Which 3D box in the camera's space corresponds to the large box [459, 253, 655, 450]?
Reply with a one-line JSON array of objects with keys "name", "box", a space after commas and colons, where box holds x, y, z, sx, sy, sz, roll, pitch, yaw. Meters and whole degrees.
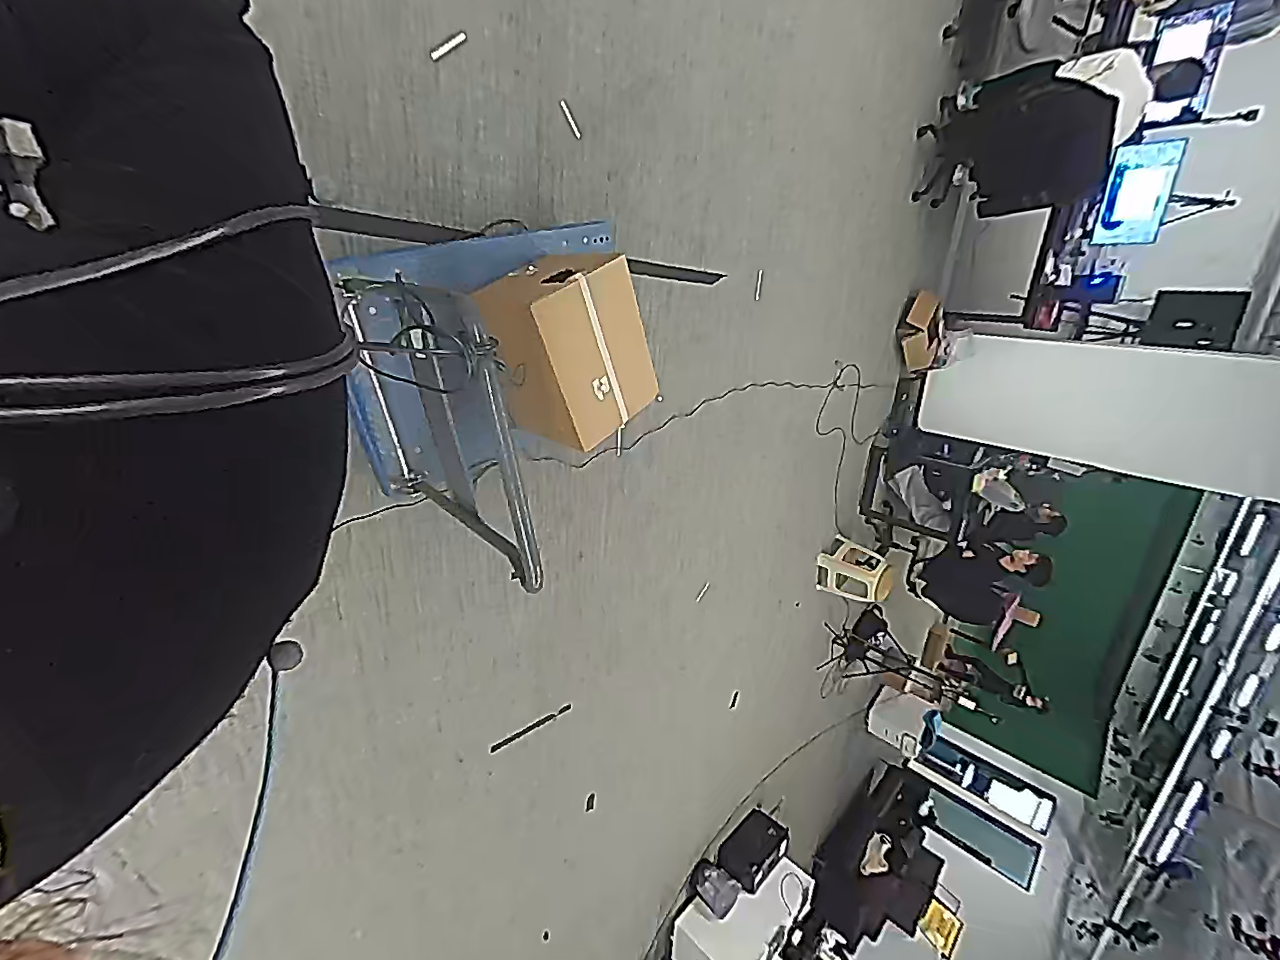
[{"name": "large box", "box": [-0.210, -0.353, 1.451, 0.320, 0.320, 0.408, -40, 132, -30]}]
